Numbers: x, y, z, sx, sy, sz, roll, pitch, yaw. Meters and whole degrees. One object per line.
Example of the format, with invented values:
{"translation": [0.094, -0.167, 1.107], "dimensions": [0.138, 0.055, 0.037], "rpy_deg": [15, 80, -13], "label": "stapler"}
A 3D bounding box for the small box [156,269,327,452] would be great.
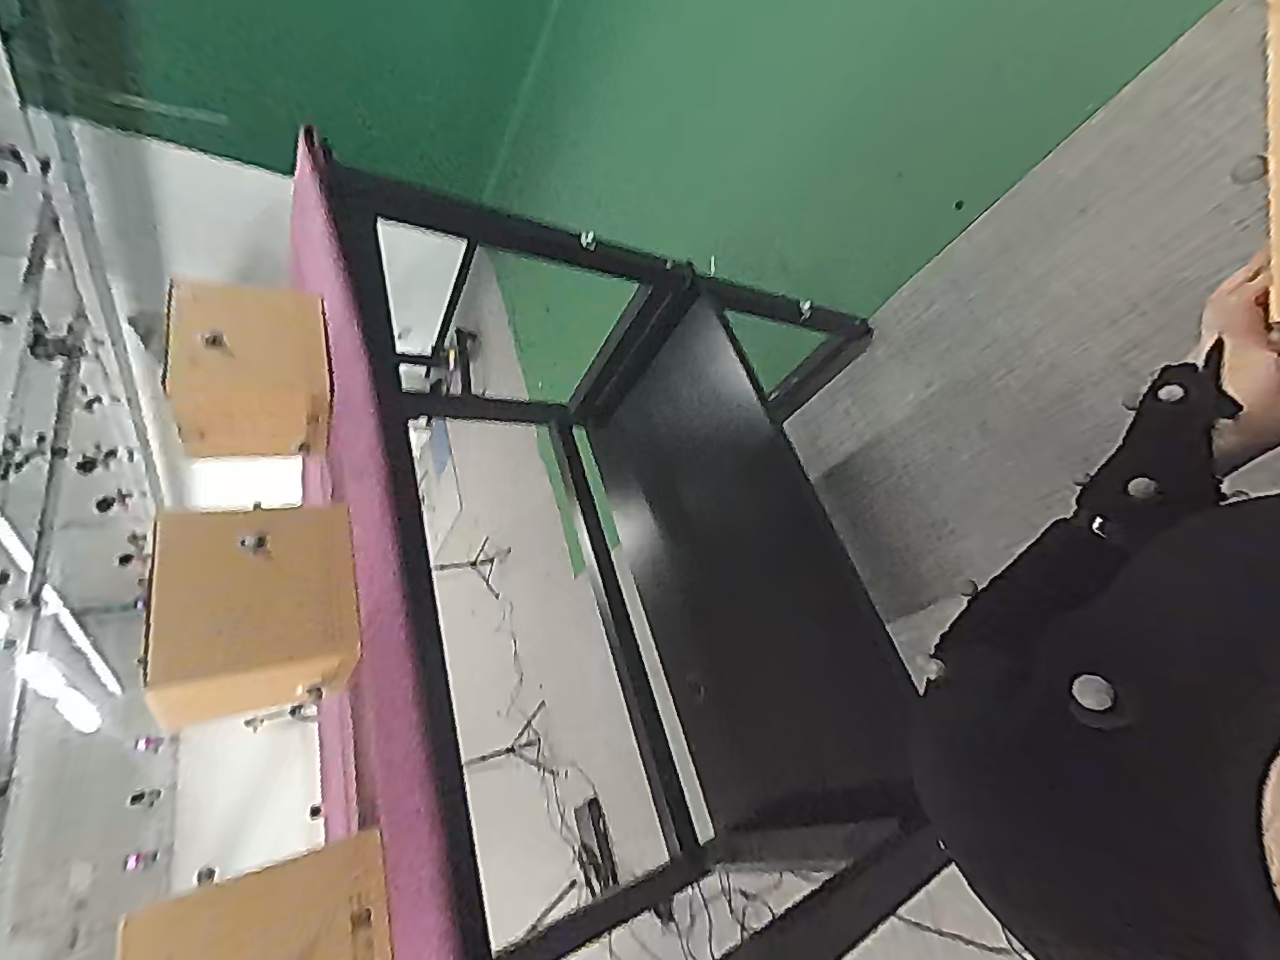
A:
{"translation": [-0.531, -0.154, 0.737], "dimensions": [0.168, 0.176, 0.179], "rpy_deg": [-46, 55, 46], "label": "small box"}

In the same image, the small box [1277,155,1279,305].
{"translation": [0.432, -0.179, 0.251], "dimensions": [0.179, 0.176, 0.168], "rpy_deg": [0, 92, 48], "label": "small box"}

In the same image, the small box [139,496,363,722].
{"translation": [-0.407, 0.131, 0.577], "dimensions": [0.168, 0.176, 0.179], "rpy_deg": [-48, 55, 43], "label": "small box"}

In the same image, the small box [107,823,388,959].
{"translation": [-0.305, 0.400, 0.435], "dimensions": [0.179, 0.176, 0.168], "rpy_deg": [-47, 53, 43], "label": "small box"}
